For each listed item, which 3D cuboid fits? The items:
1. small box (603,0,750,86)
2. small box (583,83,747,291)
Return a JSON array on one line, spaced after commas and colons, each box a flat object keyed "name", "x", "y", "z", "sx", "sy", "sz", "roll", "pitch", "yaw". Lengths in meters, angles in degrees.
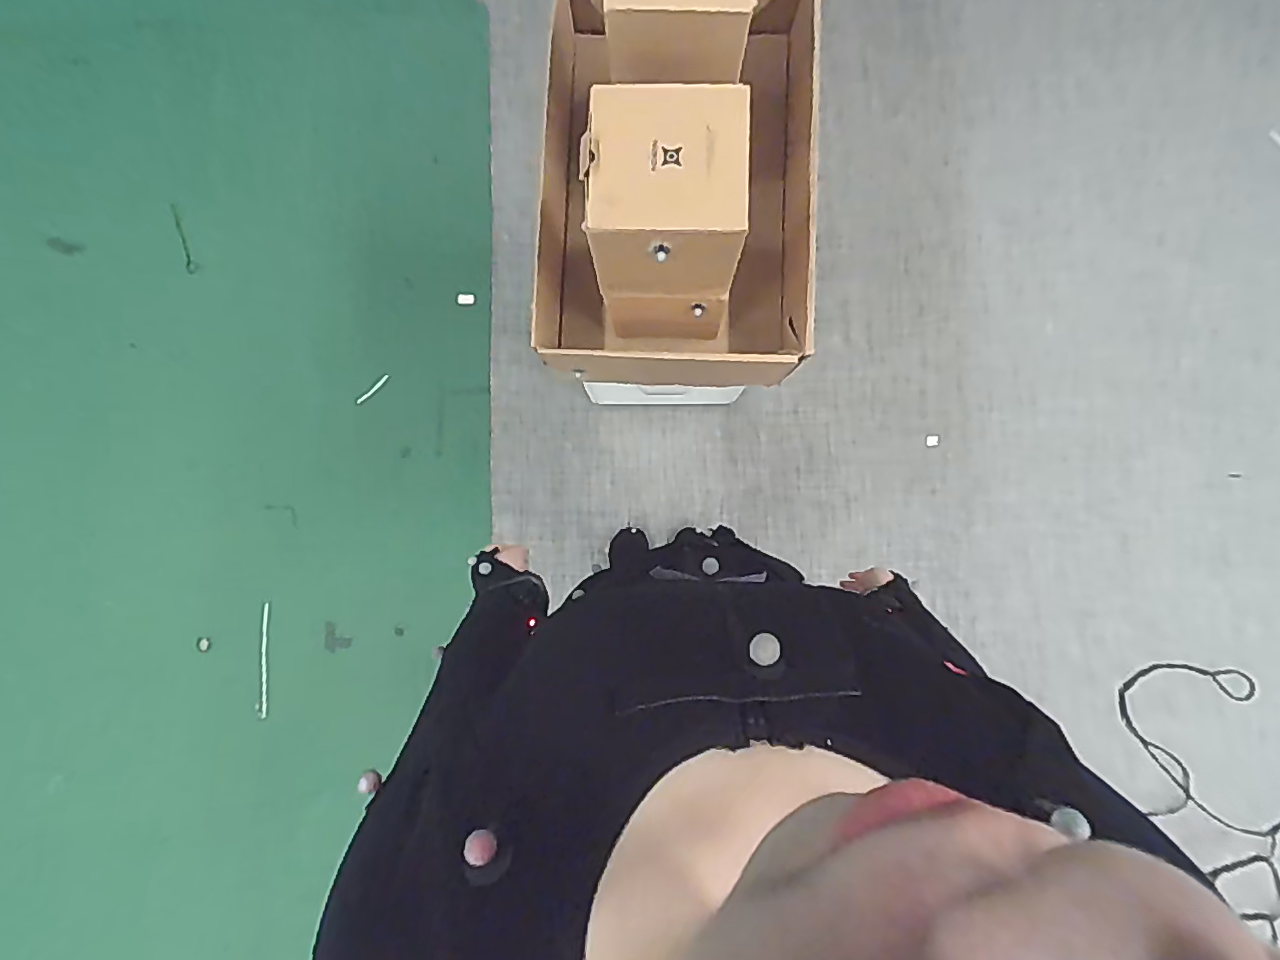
[{"name": "small box", "x": 0.045, "y": -0.598, "z": 0.677, "sx": 0.168, "sy": 0.176, "sz": 0.179, "roll": 4, "pitch": 89, "yaw": 1}, {"name": "small box", "x": 0.030, "y": -0.345, "z": 0.666, "sx": 0.179, "sy": 0.176, "sz": 0.168, "roll": 1, "pitch": 87, "yaw": 1}]
